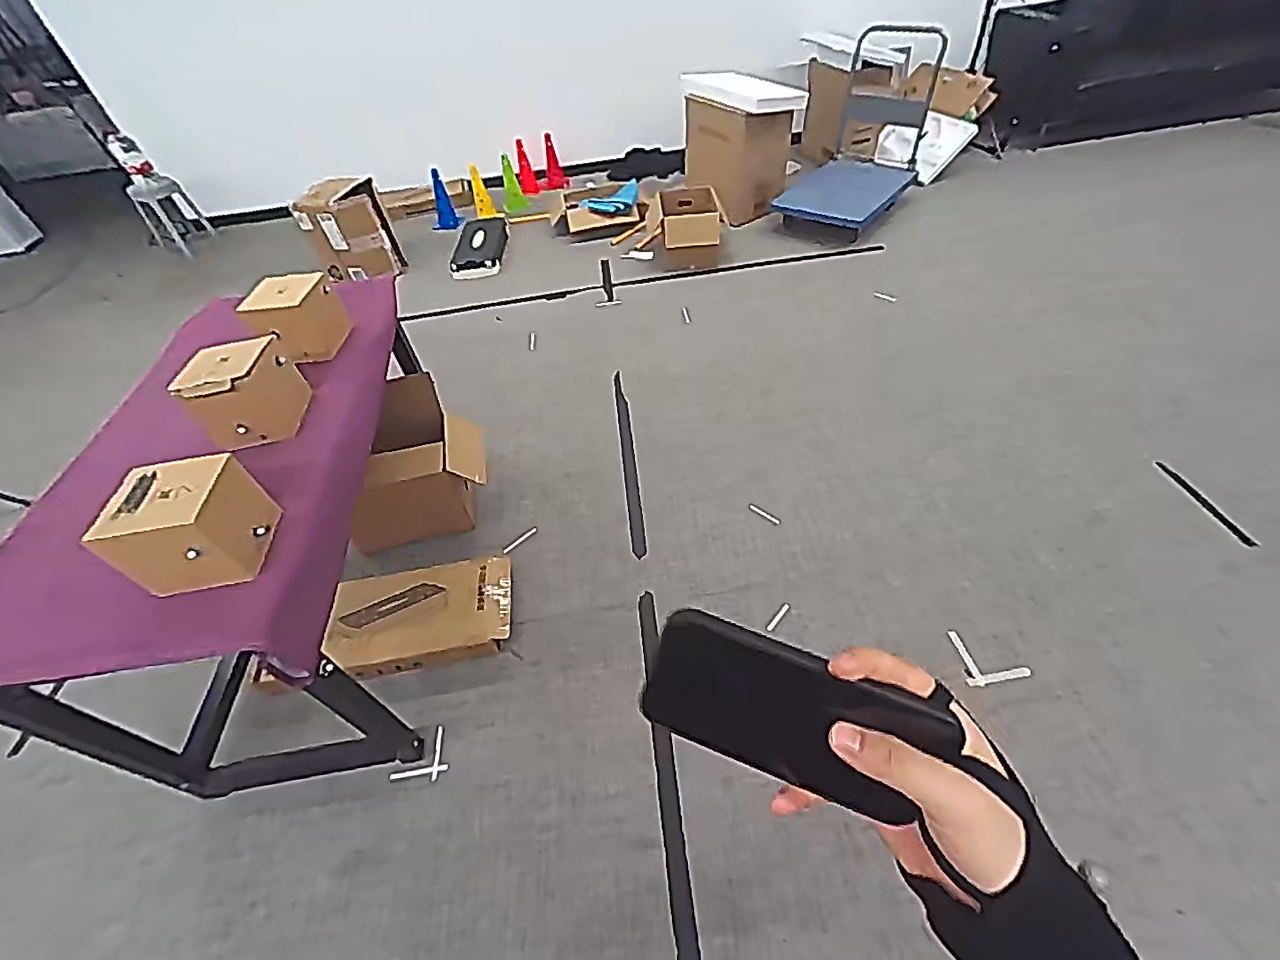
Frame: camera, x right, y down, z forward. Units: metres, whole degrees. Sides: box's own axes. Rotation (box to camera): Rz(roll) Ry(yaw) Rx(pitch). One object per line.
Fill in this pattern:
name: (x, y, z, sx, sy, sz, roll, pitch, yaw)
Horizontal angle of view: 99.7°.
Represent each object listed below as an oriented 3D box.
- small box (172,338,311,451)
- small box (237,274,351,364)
small box: (-0.884, -0.193, 1.224, 0.168, 0.176, 0.179, -12, 47, 0)
small box: (-0.909, -0.423, 1.443, 0.168, 0.176, 0.179, -5, 47, 3)
